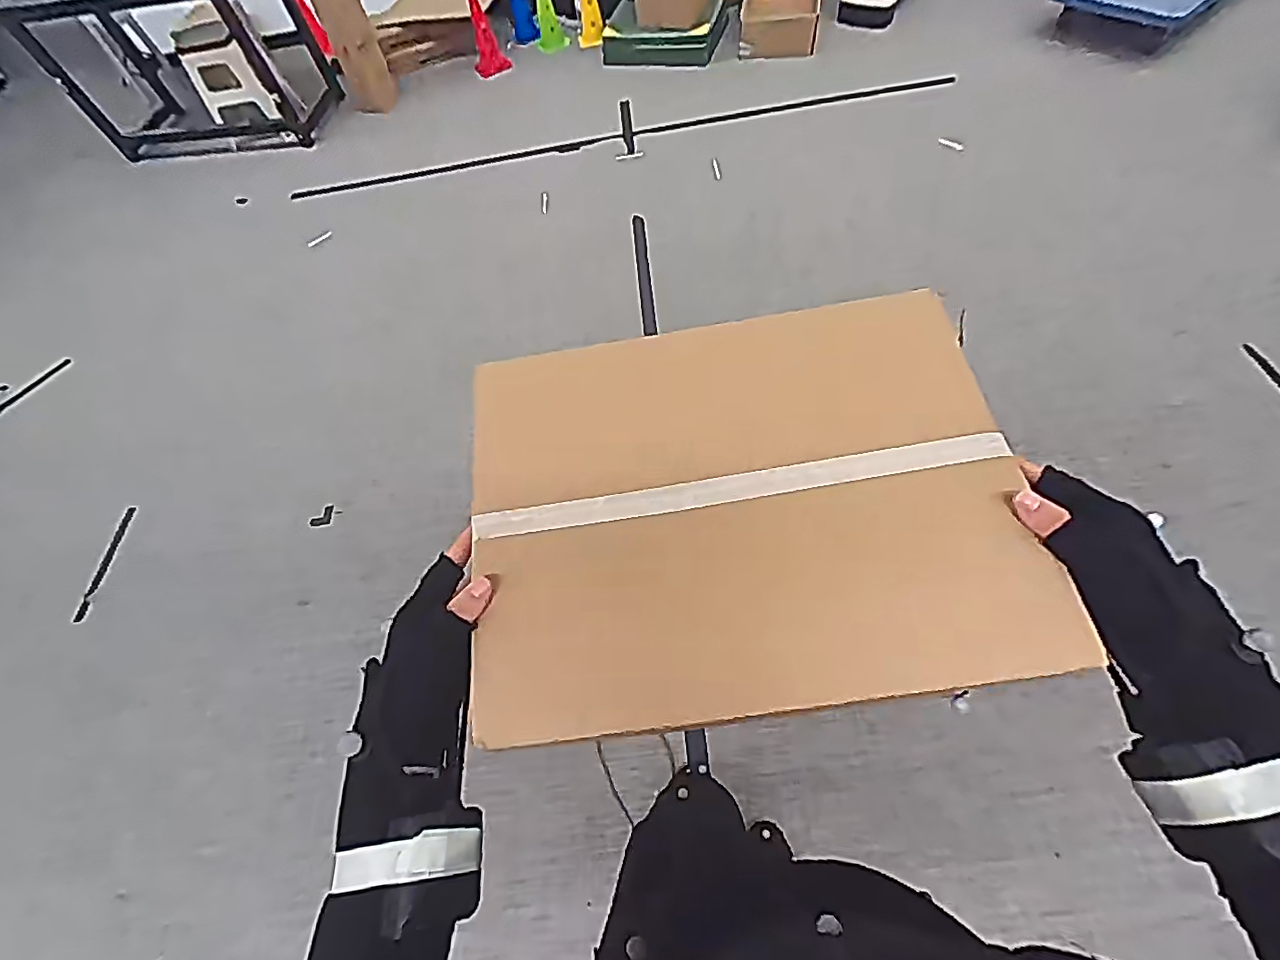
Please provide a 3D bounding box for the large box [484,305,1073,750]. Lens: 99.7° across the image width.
[{"bbox_3d":[0.090,0.074,0.558,0.408,0.320,0.320,-9,64,3],"label":"large box"}]
